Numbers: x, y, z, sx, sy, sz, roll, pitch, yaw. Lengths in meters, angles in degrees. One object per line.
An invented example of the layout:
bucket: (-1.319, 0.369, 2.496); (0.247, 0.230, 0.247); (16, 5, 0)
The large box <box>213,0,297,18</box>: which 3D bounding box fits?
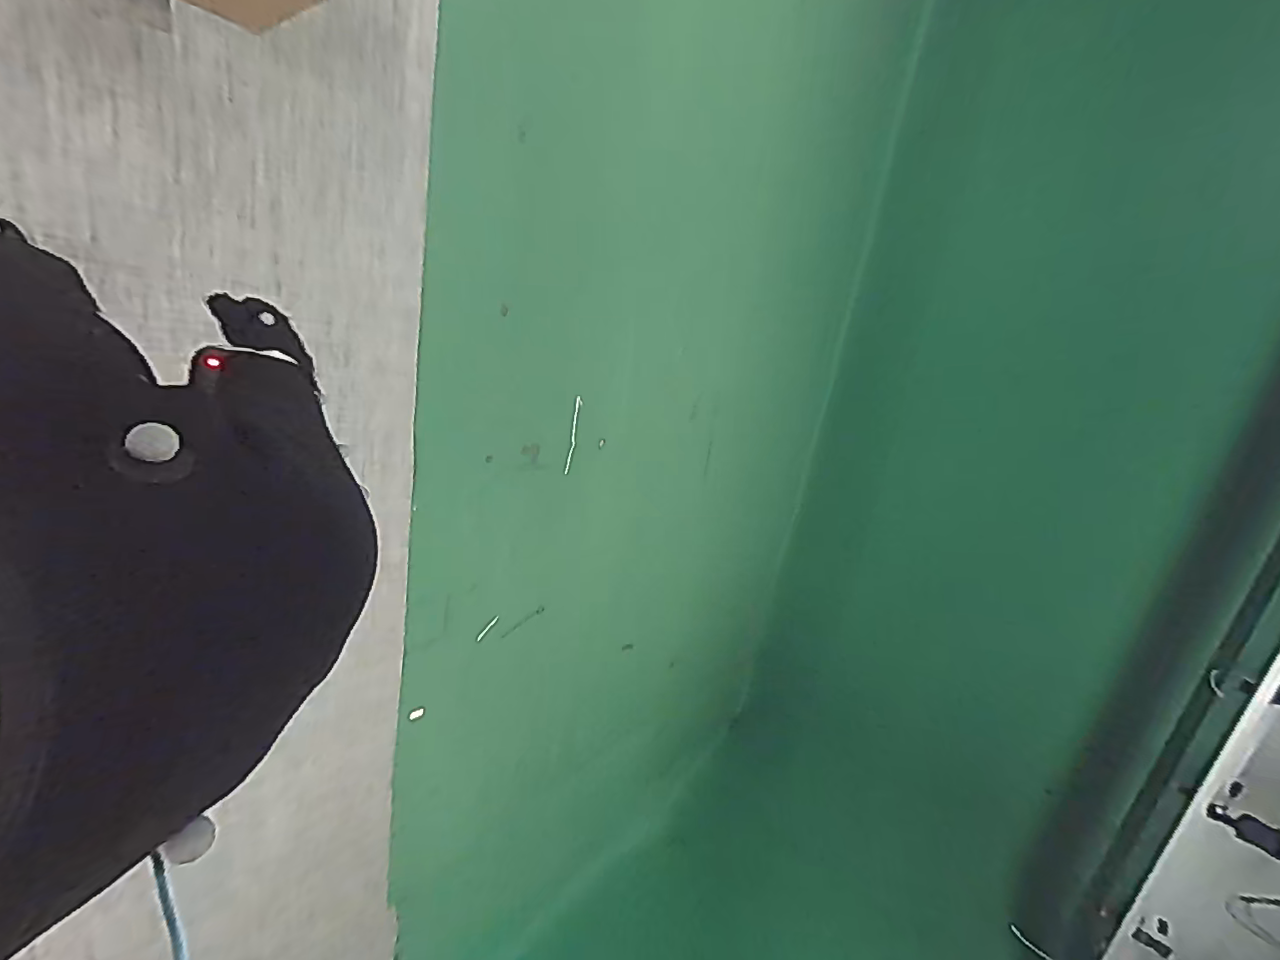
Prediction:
large box: (-0.680, -0.906, 0.704); (0.408, 0.320, 0.320); (-7, 114, -50)
